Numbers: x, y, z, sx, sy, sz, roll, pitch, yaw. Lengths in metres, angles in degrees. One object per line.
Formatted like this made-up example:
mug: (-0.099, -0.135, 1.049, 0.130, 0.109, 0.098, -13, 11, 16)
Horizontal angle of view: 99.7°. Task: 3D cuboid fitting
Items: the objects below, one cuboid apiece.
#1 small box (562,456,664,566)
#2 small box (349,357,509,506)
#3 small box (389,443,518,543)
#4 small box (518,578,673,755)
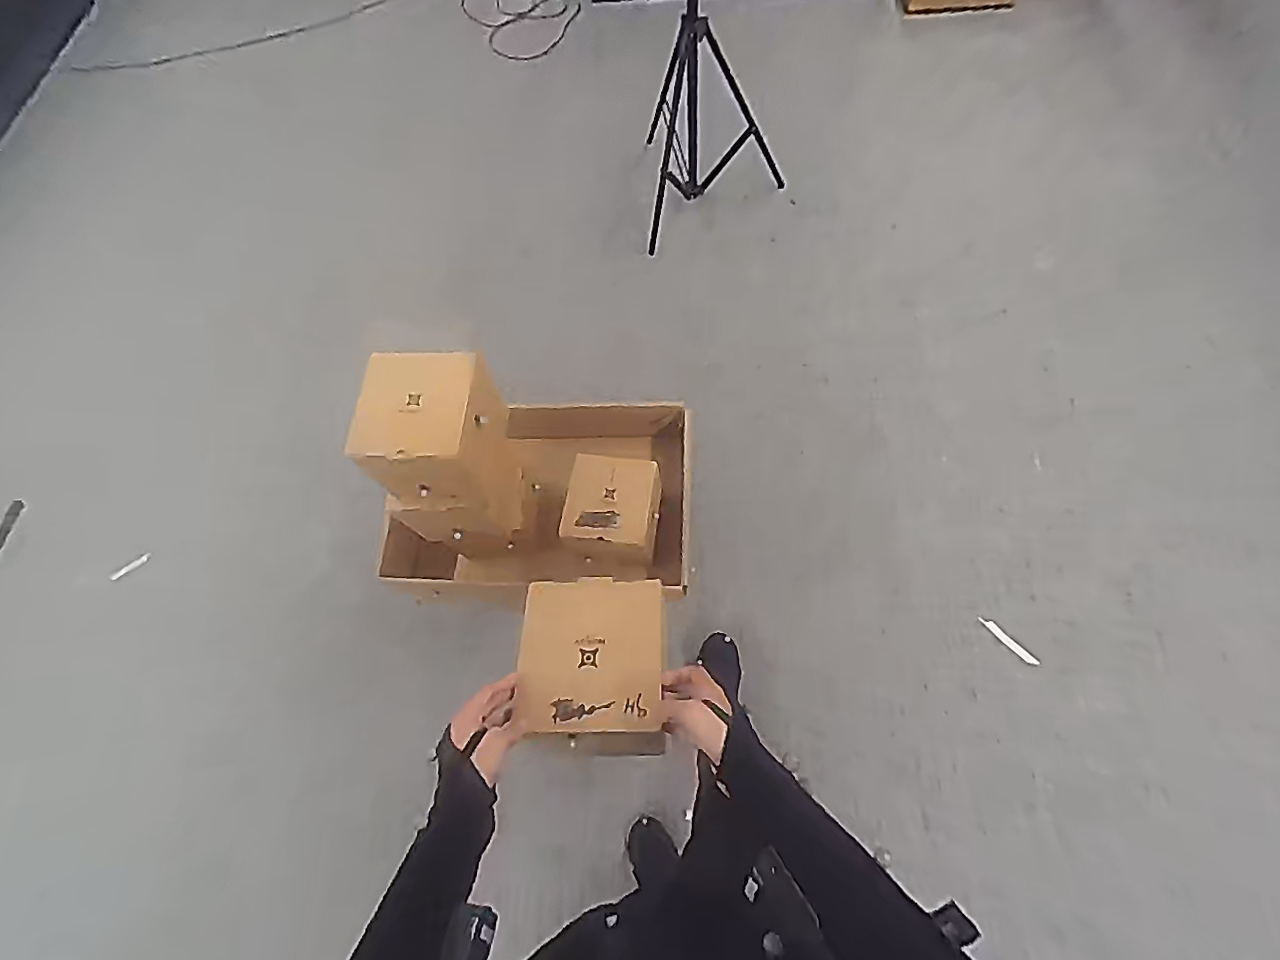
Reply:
small box: (-0.046, 0.069, 1.105, 0.168, 0.176, 0.179, 6, 68, 9)
small box: (-0.312, -0.071, 0.841, 0.168, 0.176, 0.179, 0, 67, 4)
small box: (-0.327, 0.006, 0.987, 0.168, 0.176, 0.179, -3, 67, 3)
small box: (-0.044, 0.240, 0.689, 0.168, 0.176, 0.179, -2, 55, 4)
